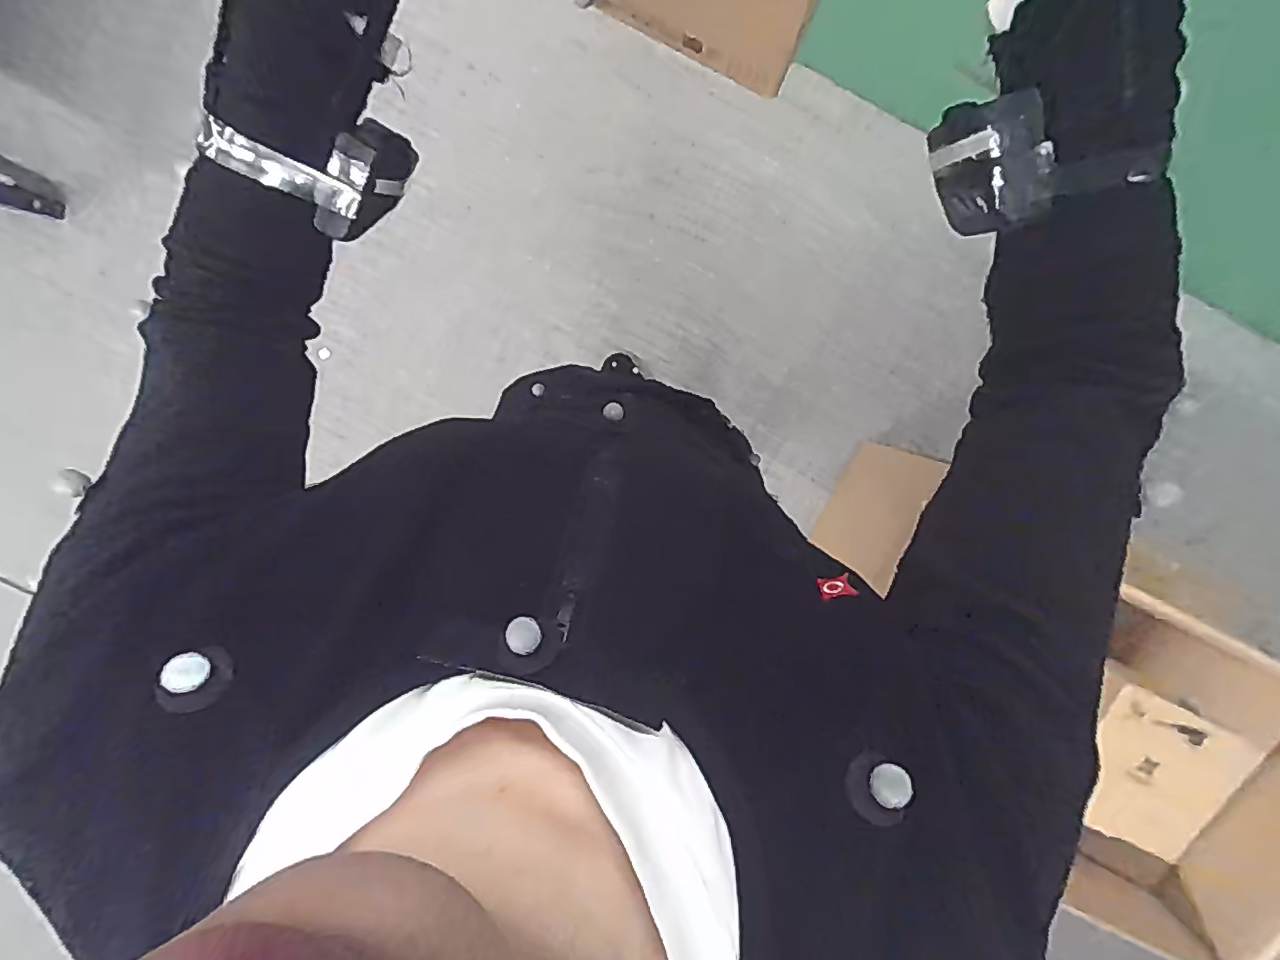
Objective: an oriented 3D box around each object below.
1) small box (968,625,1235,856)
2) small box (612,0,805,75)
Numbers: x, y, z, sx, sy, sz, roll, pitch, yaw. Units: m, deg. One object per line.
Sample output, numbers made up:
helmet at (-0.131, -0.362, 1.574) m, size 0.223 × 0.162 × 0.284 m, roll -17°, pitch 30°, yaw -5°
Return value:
small box at (0.574, 0.327, 0.708) m, size 0.168 × 0.176 × 0.179 m, roll 26°, pitch 101°, yaw -3°
small box at (0.039, -0.347, 0.255) m, size 0.168 × 0.176 × 0.179 m, roll 26°, pitch 103°, yaw -3°
